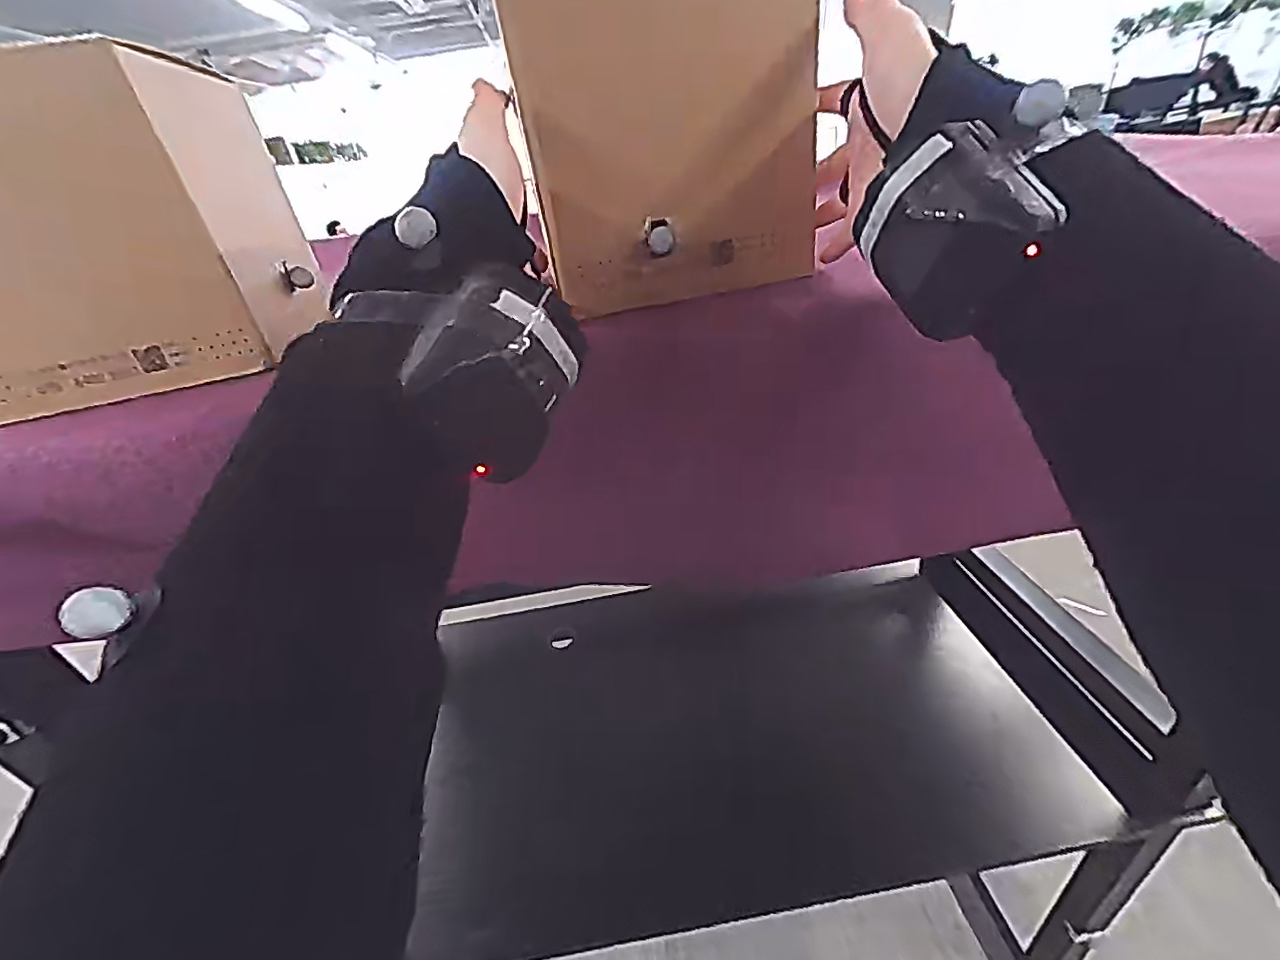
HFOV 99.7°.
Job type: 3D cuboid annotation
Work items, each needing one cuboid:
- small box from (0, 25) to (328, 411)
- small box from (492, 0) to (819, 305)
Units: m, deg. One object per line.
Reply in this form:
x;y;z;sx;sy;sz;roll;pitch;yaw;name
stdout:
-0.335;-0.162;0.353;0.168;0.176;0.179;-15;32;-8;small box
0.005;-0.228;0.367;0.168;0.176;0.179;-13;32;-4;small box
